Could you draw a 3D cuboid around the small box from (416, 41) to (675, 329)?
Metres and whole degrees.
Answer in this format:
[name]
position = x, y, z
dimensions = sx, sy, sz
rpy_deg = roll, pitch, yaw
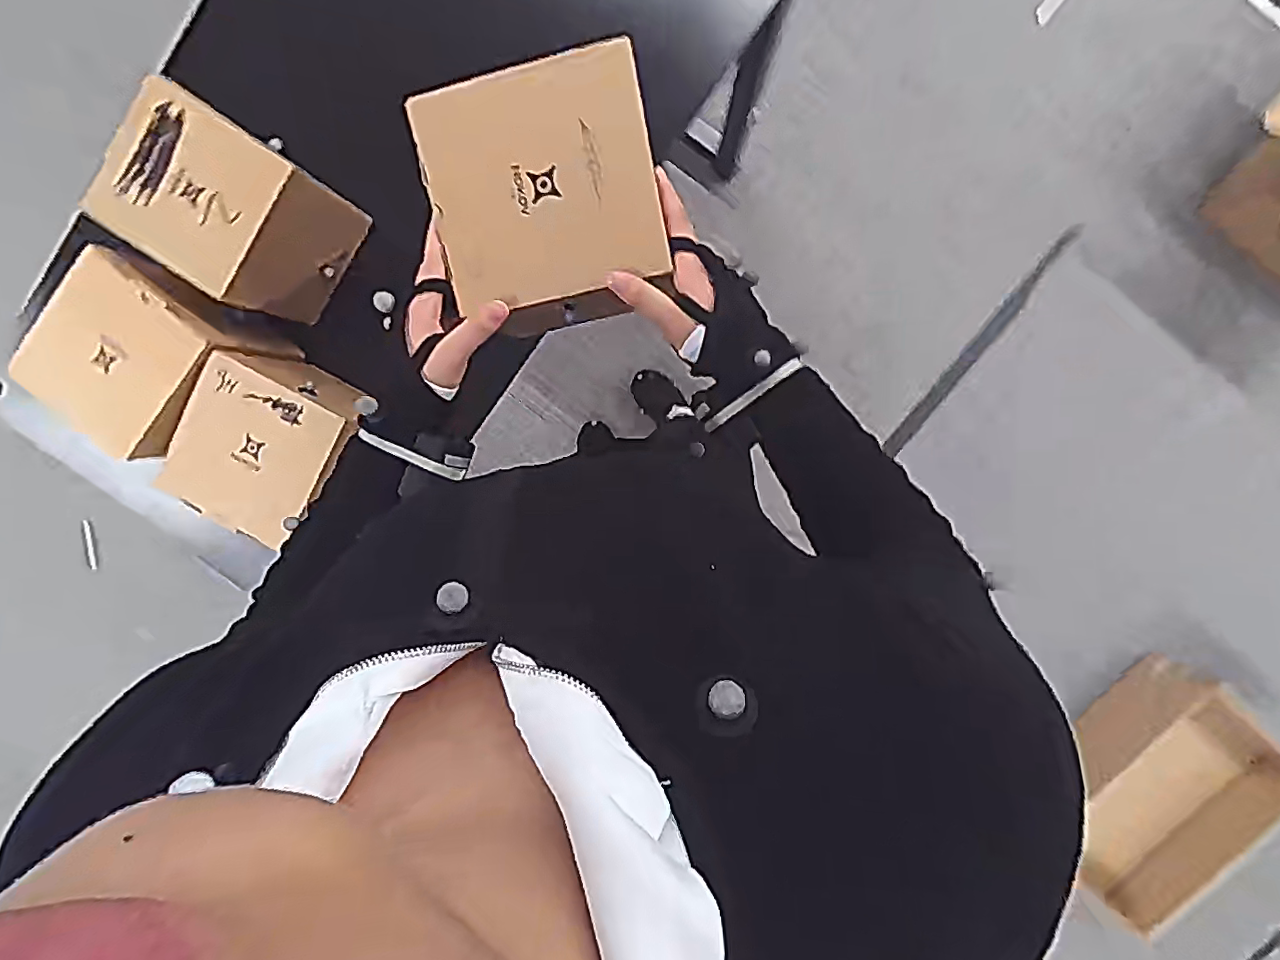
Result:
[small box]
position = -0.067, -0.242, 0.495
dimensions = 0.179, 0.176, 0.168
rpy_deg = -11, 101, 6
